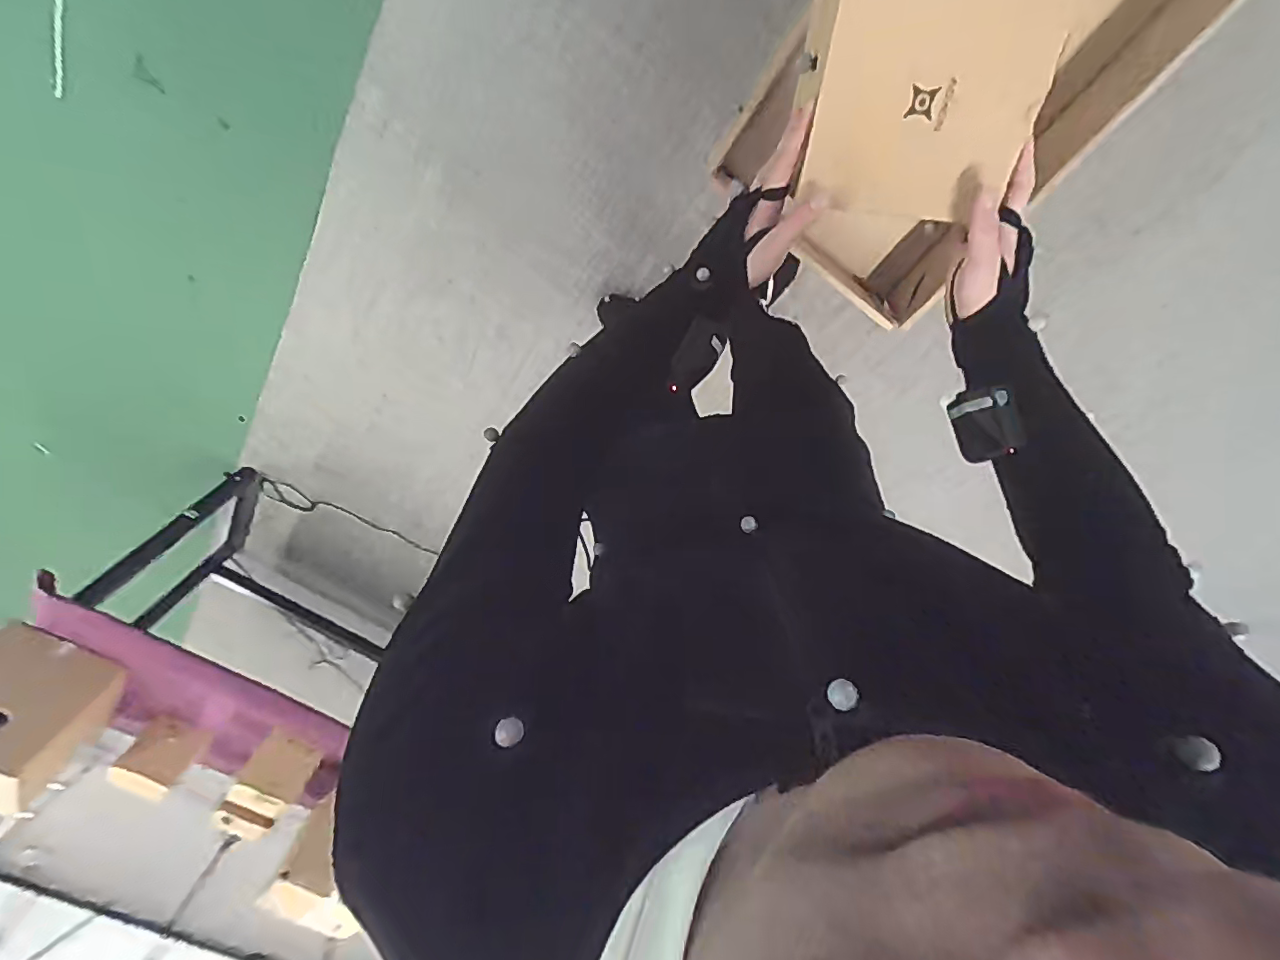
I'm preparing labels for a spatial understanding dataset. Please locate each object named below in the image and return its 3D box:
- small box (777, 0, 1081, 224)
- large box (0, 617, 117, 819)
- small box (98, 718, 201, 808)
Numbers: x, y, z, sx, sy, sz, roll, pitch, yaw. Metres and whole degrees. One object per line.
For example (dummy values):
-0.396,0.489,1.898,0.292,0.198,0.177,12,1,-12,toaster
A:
0.230,-0.341,0.490,0.179,0.176,0.168,6,125,2,small box
-1.724,0.647,1.467,0.320,0.320,0.408,35,123,-16,large box
-1.509,0.872,1.670,0.168,0.176,0.179,36,123,-15,small box
